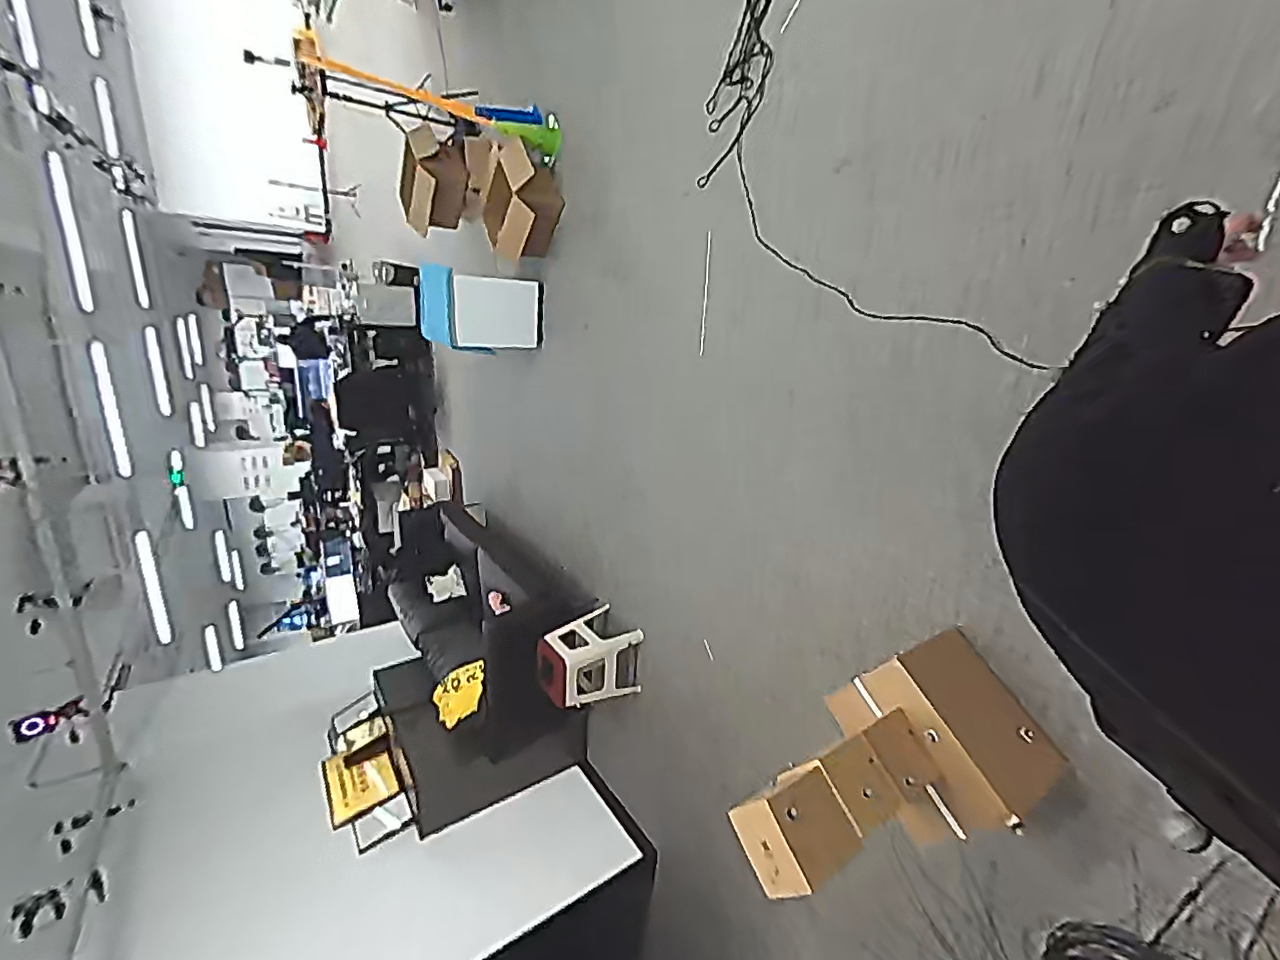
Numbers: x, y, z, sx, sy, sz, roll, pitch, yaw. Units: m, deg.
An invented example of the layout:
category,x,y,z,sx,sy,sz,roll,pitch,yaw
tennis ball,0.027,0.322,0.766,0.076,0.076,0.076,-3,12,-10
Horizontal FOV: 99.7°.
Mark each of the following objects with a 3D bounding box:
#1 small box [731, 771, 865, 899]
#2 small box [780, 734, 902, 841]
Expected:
category,x,y,z,sx,sy,sz,roll,pitch,yaw
small box,0.333,0.748,1.152,0.179,0.176,0.168,61,143,27
small box,0.466,0.714,1.244,0.168,0.176,0.179,60,142,29
